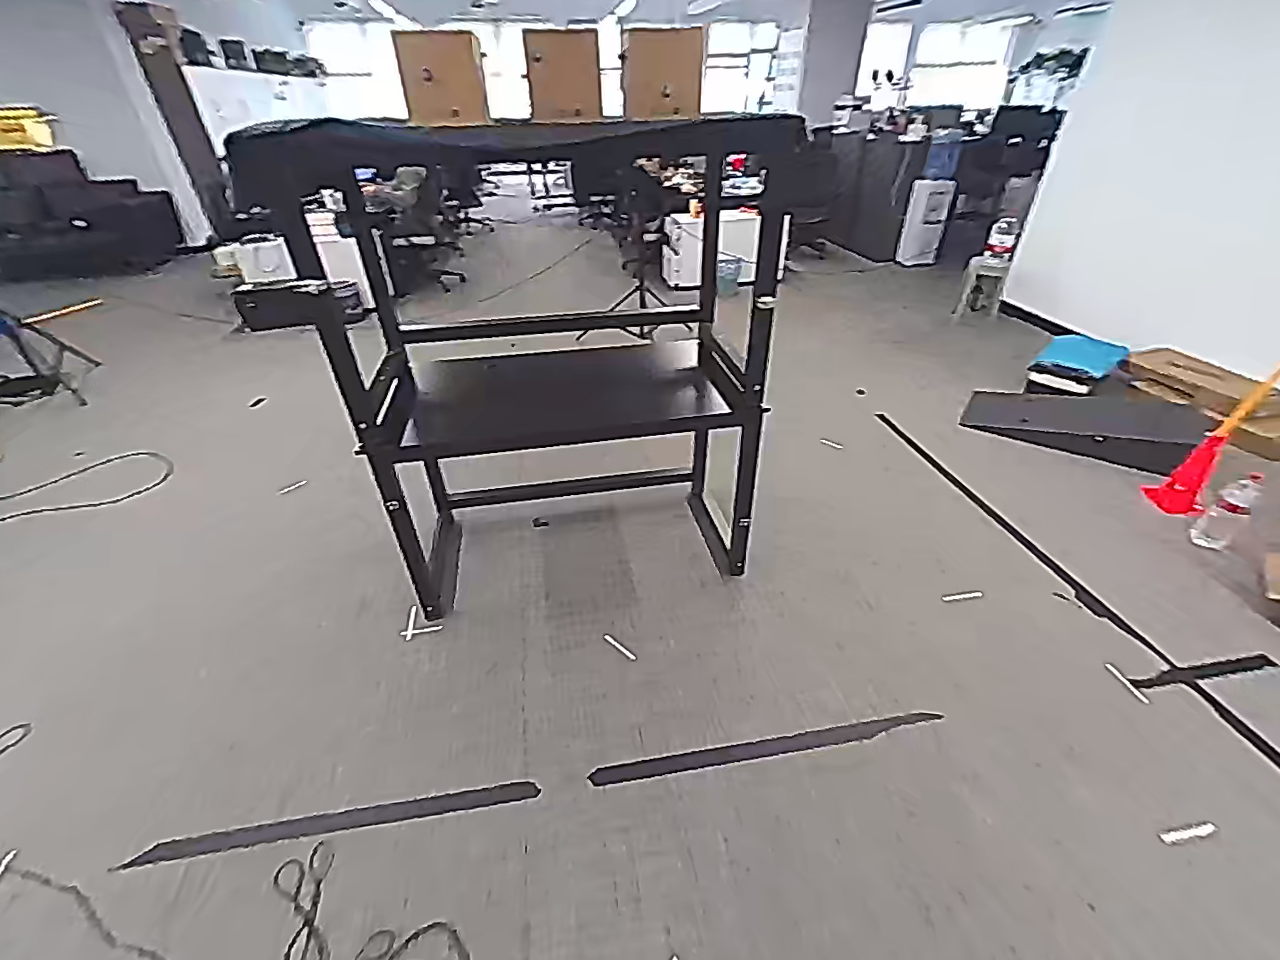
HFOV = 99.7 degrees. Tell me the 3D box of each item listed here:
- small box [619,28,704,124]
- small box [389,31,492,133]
[{"bbox_3d":[0.045,-0.925,1.249,0.168,0.176,0.179,-7,35,-6],"label":"small box"},{"bbox_3d":[-0.432,-0.880,1.204,0.168,0.176,0.179,-5,34,-6],"label":"small box"}]
